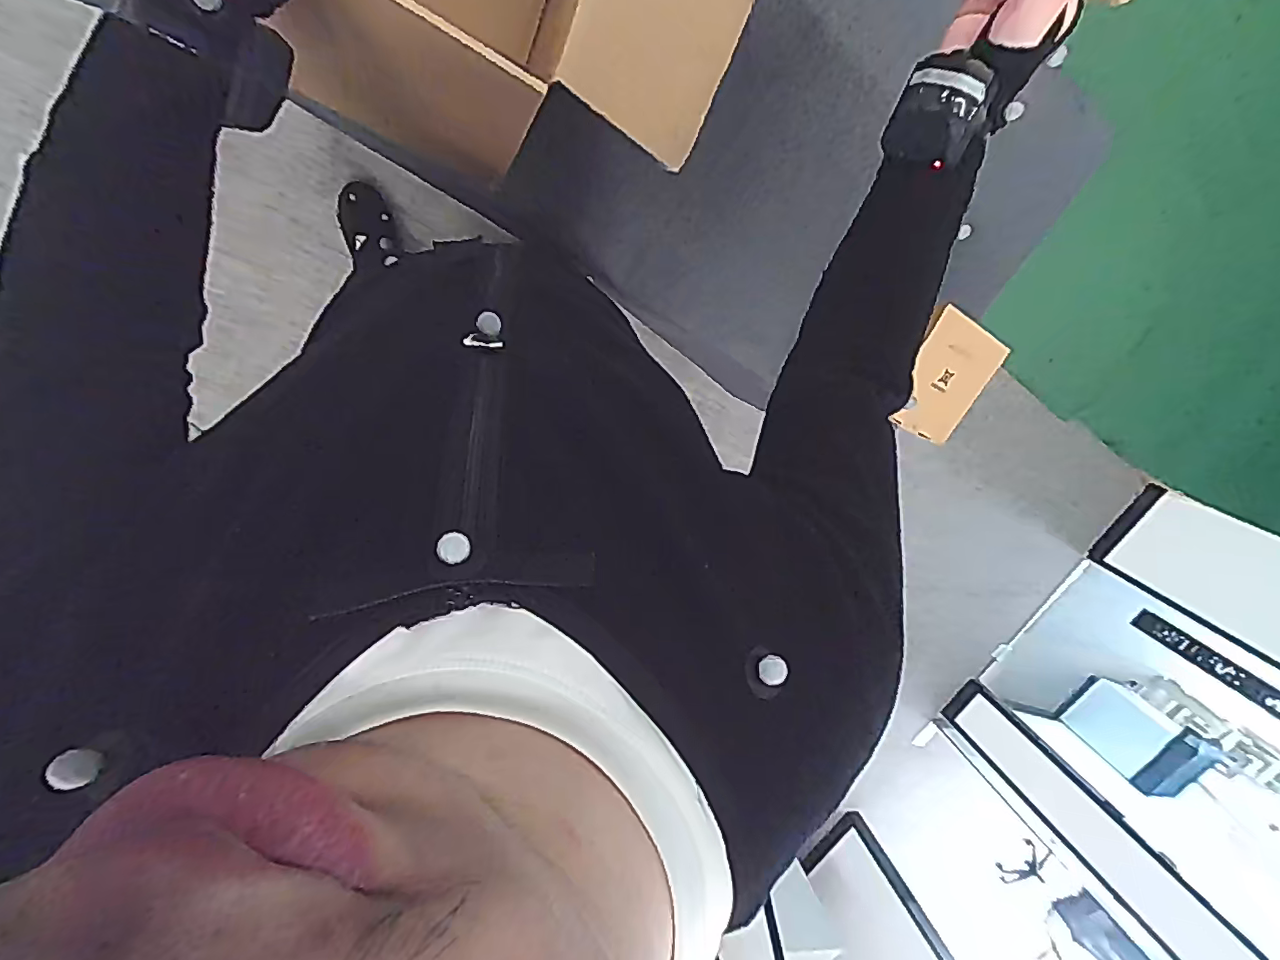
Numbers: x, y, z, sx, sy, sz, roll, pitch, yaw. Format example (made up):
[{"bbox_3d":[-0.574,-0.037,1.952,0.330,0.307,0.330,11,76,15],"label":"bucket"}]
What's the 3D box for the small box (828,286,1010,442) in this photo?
[{"bbox_3d":[0.441,-0.194,0.888,0.168,0.176,0.179,20,109,-27],"label":"small box"}]
